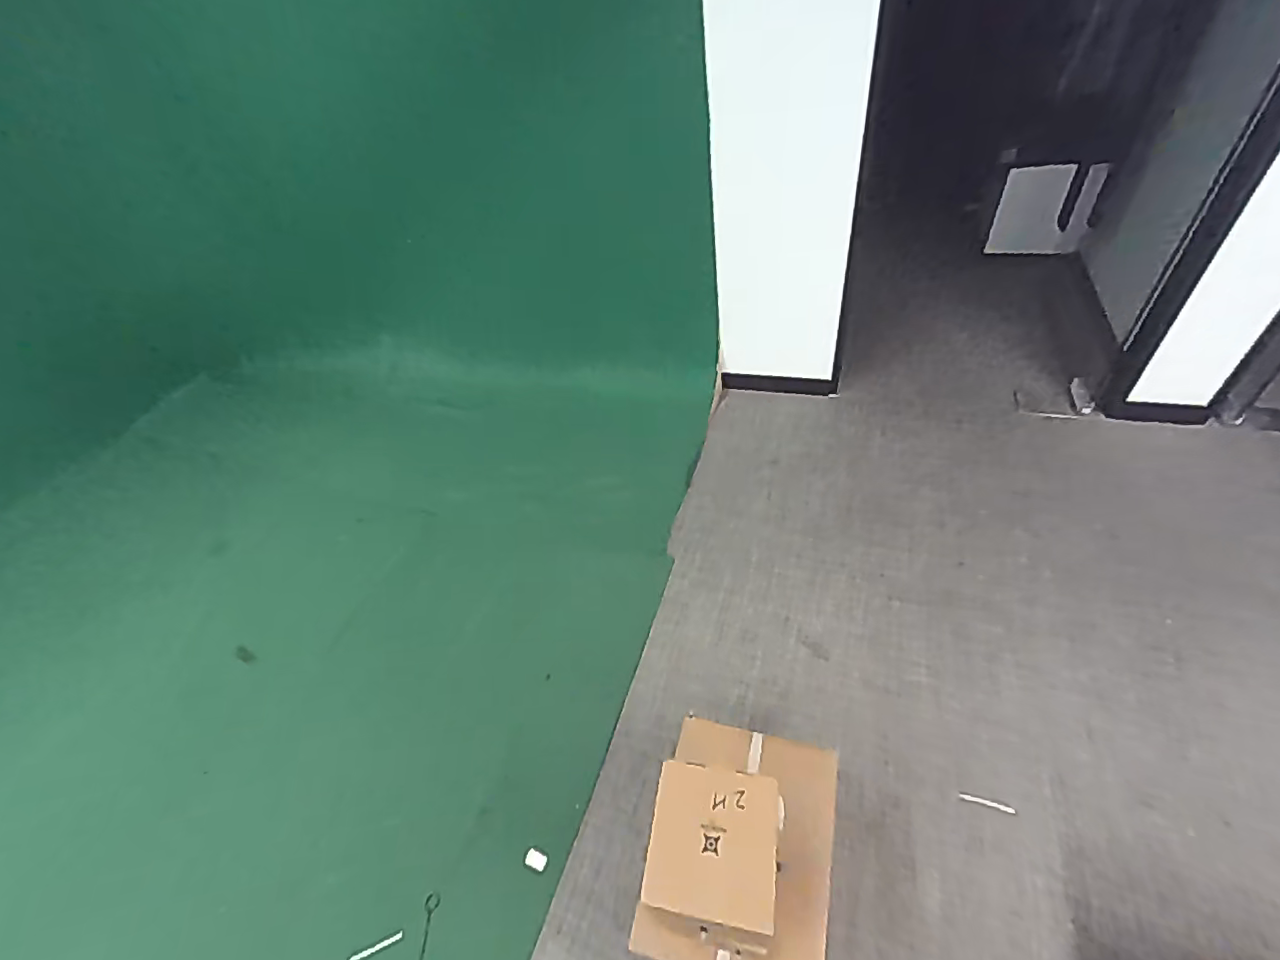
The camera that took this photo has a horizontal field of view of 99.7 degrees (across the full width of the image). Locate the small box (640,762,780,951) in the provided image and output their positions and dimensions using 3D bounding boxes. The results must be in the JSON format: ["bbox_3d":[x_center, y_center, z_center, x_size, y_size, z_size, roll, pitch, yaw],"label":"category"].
[{"bbox_3d":[0.108,0.534,0.766,0.168,0.176,0.179,4,46,15],"label":"small box"}]

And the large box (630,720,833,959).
[{"bbox_3d":[0.204,0.774,1.088,0.320,0.320,0.408,7,47,18],"label":"large box"}]

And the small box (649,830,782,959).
[{"bbox_3d":[0.131,0.653,0.877,0.179,0.176,0.168,6,46,18],"label":"small box"}]
